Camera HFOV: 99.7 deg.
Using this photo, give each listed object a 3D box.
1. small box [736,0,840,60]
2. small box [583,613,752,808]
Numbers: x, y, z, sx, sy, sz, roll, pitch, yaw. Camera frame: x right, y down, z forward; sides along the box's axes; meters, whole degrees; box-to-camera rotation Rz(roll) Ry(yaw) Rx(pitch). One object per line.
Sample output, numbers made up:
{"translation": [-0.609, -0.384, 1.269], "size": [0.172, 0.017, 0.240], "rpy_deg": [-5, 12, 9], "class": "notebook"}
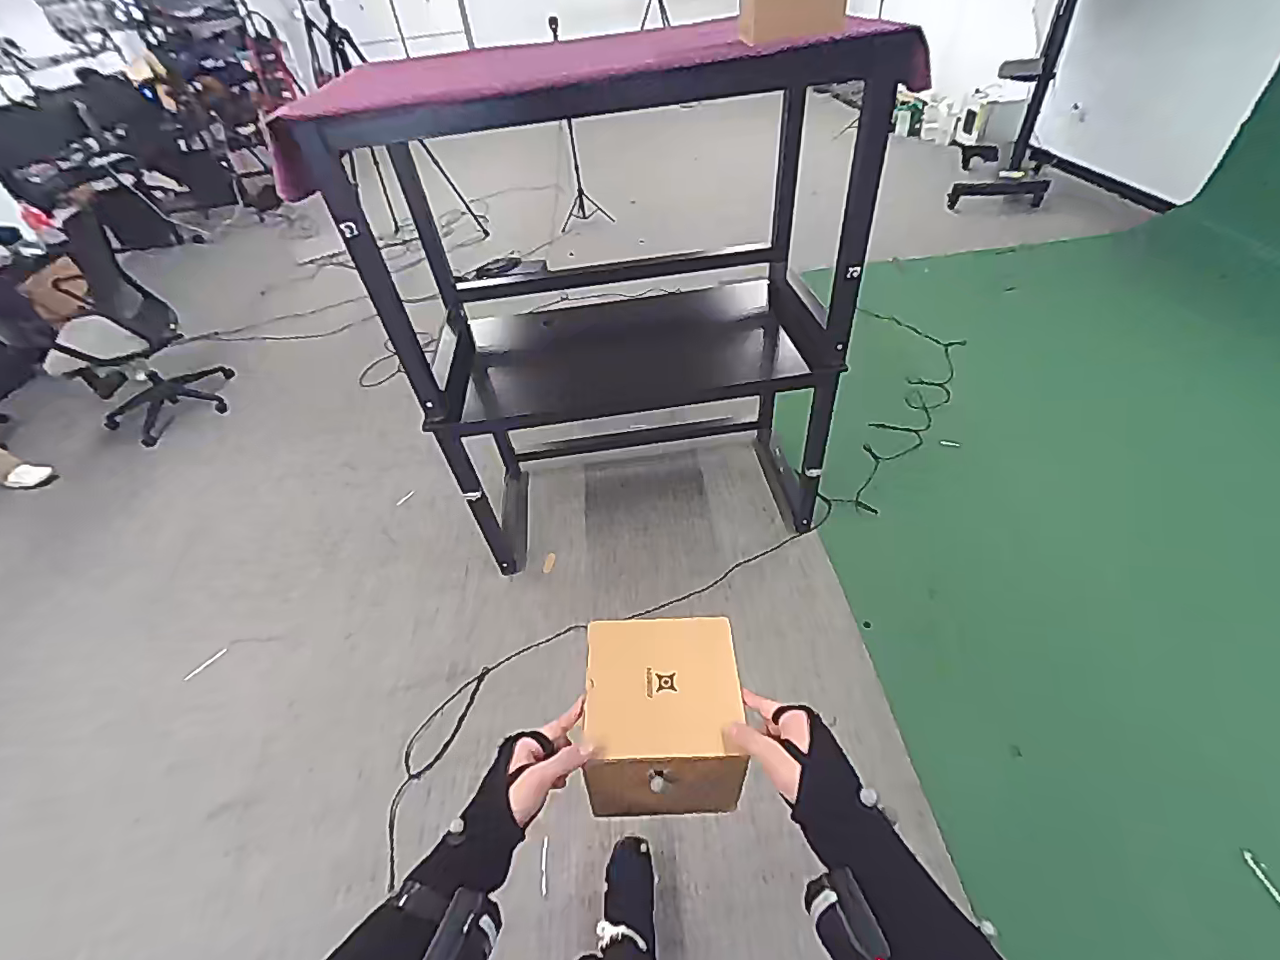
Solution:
{"translation": [0.282, -0.933, 1.042], "size": [0.179, 0.176, 0.168], "rpy_deg": [-5, 45, 3], "class": "small box"}
{"translation": [0.028, 0.281, 0.659], "size": [0.179, 0.176, 0.168], "rpy_deg": [-3, 41, 0], "class": "small box"}
